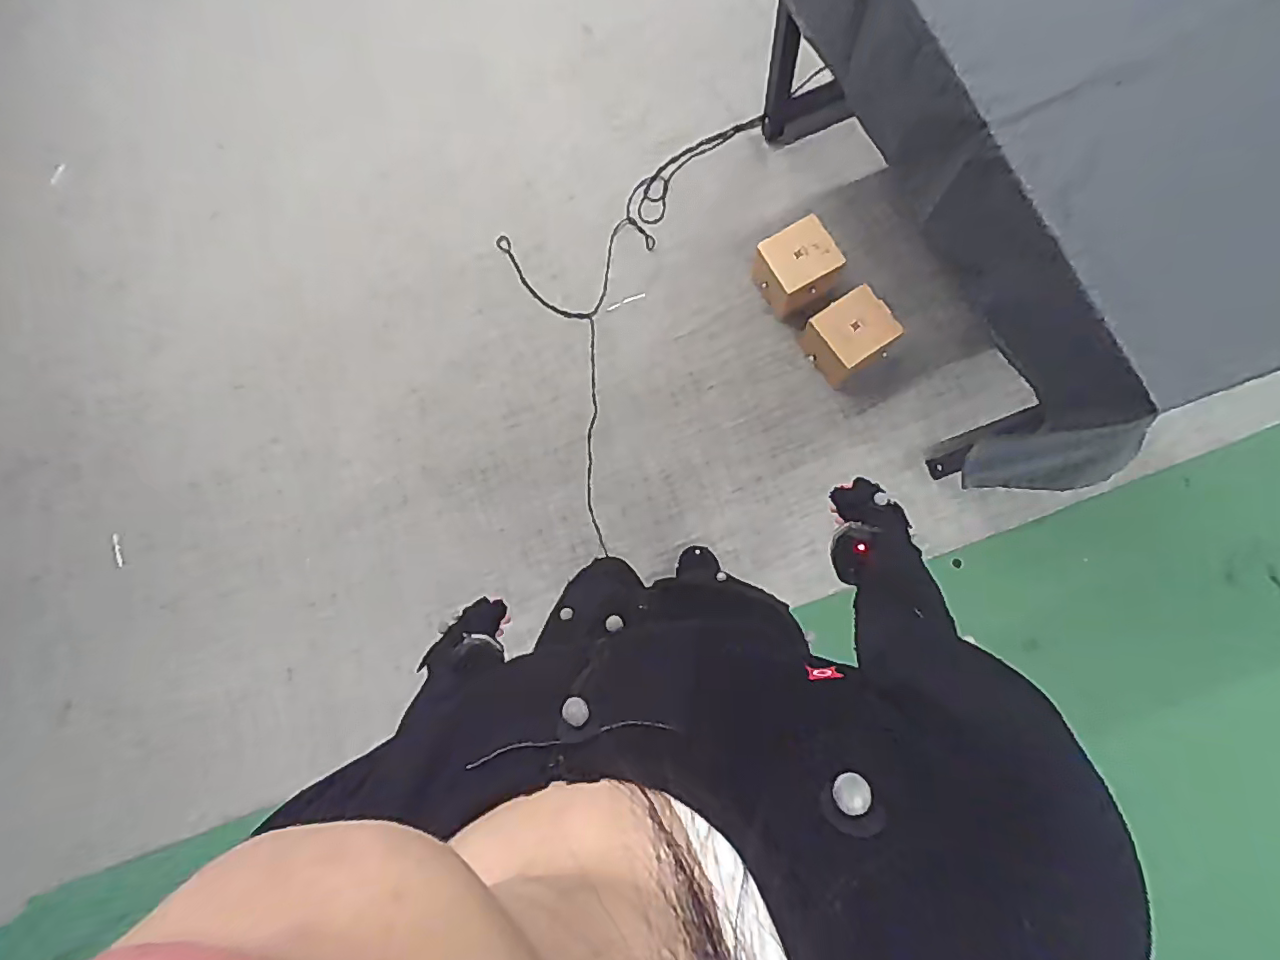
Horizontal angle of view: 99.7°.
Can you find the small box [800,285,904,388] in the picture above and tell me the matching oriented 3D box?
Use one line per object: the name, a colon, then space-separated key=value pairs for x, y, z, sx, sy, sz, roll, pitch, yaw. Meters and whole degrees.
small box: x=0.553 y=-0.374 z=1.439 sx=0.179 sy=0.176 sz=0.168 roll=-33 pitch=79 yaw=0
